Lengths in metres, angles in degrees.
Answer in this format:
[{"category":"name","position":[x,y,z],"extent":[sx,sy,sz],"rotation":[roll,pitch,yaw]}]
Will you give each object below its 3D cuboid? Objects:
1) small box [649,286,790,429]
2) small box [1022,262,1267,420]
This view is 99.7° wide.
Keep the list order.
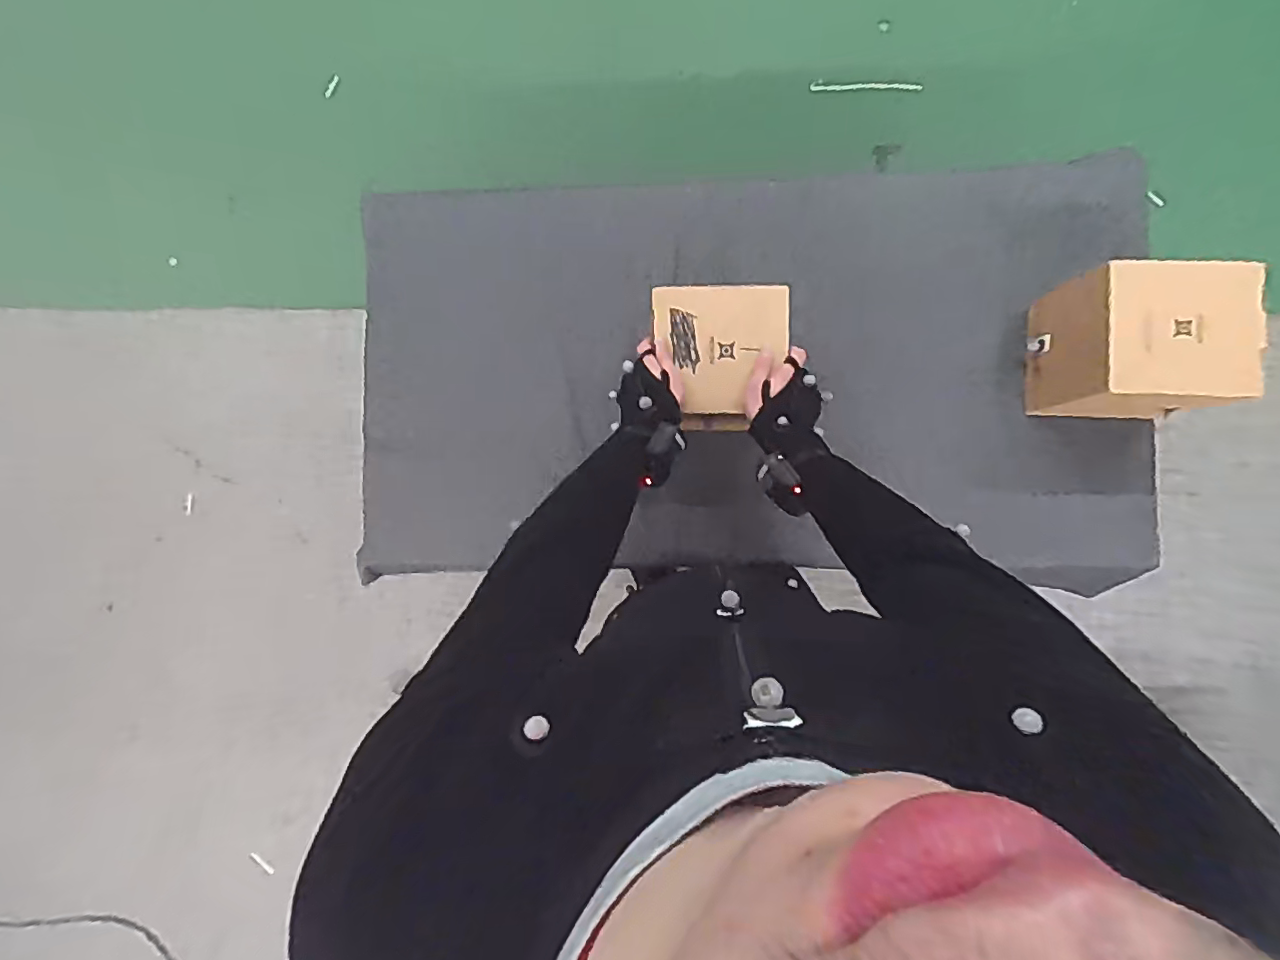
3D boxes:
[{"category":"small box","position":[0.105,-0.162,0.762],"extent":[0.179,0.176,0.168],"rotation":[1,89,3]},{"category":"small box","position":[0.655,-0.174,0.722],"extent":[0.179,0.176,0.168],"rotation":[2,88,5]}]
